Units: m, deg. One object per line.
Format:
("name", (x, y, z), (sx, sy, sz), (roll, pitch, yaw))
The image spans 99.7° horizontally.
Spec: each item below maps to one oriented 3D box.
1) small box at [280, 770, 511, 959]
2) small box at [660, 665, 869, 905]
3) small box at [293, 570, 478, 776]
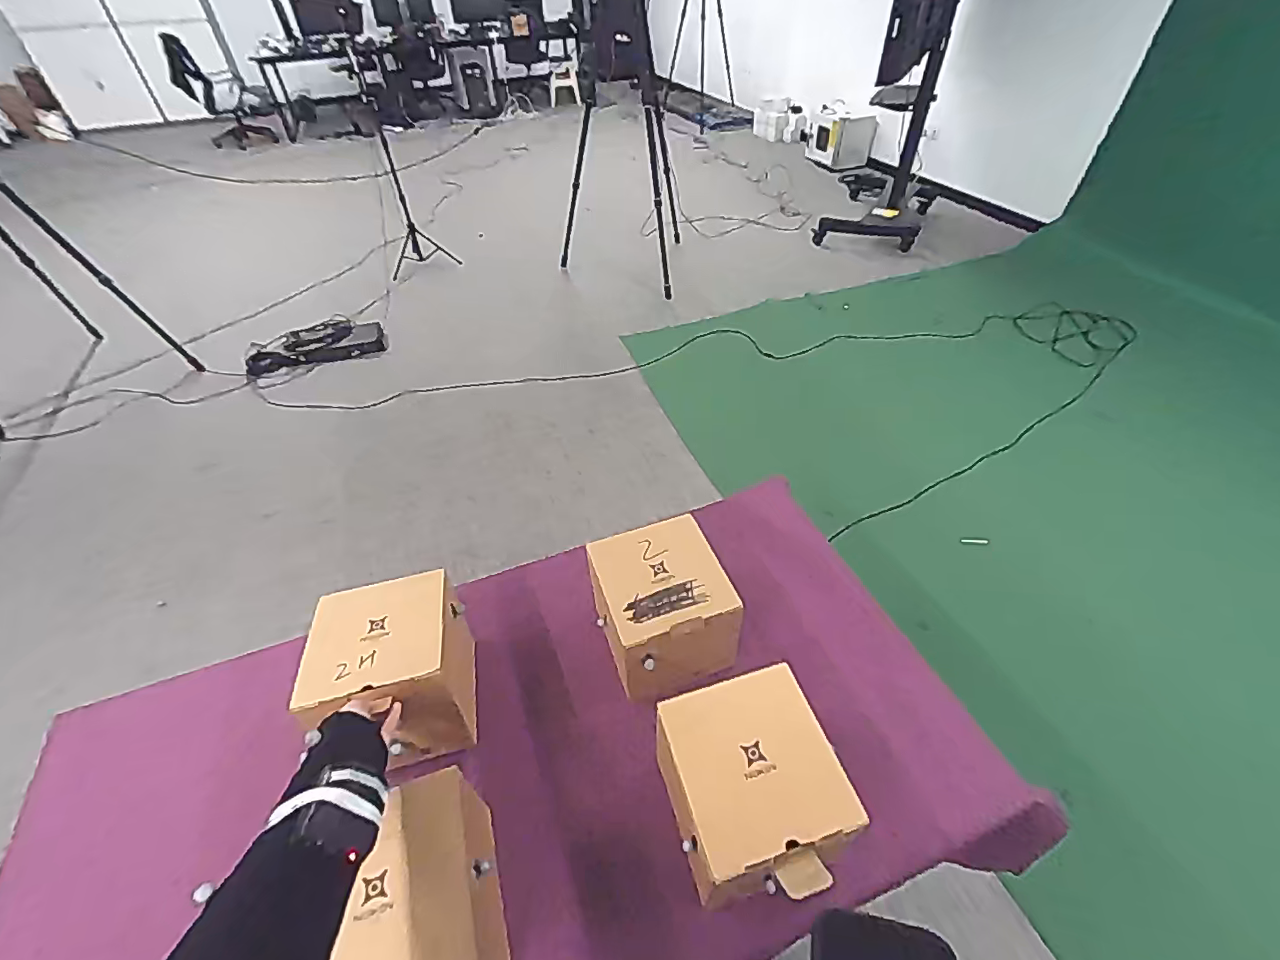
("small box", (-0.238, 0.438, 0.555), (0.168, 0.176, 0.179), (-14, 45, -12))
("small box", (0.124, 0.350, 0.624), (0.168, 0.176, 0.179), (-14, 46, -10))
("small box", (-0.321, 0.254, 0.724), (0.168, 0.176, 0.179), (-12, 37, -9))
